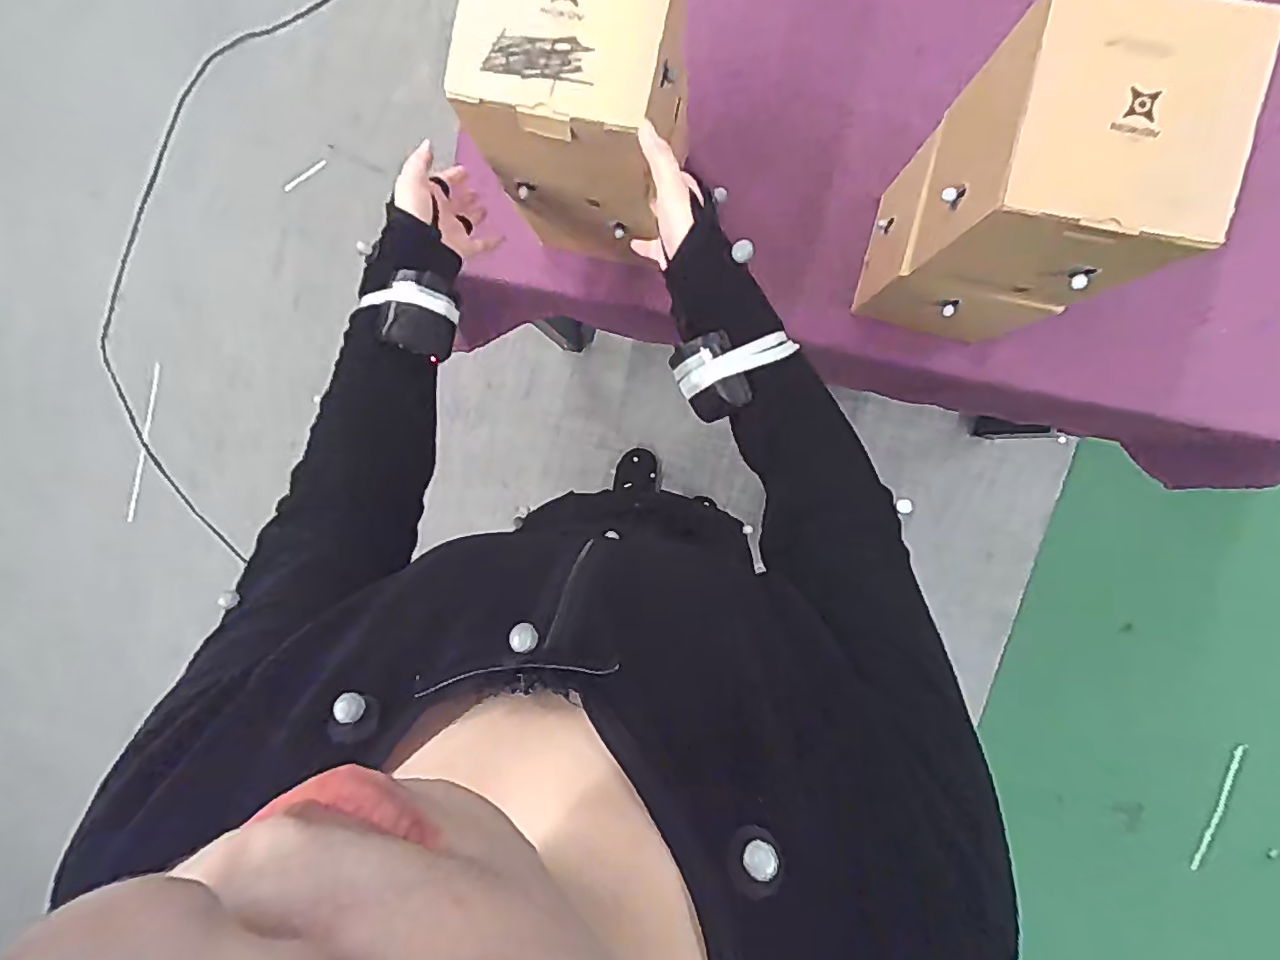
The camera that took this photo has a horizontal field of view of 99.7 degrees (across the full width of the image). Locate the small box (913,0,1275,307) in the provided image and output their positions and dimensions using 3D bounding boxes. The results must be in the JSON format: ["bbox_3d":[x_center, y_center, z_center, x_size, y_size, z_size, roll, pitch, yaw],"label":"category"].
[{"bbox_3d":[0.375,-0.272,0.487,0.168,0.176,0.179,13,93,2],"label":"small box"}]

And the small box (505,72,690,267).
[{"bbox_3d":[-0.044,-0.384,0.671,0.179,0.176,0.168,13,94,2],"label":"small box"}]

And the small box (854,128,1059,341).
[{"bbox_3d":[0.383,-0.277,0.650,0.179,0.176,0.168,15,95,2],"label":"small box"}]

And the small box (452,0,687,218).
[{"bbox_3d":[-0.051,-0.376,0.507,0.168,0.176,0.179,13,93,2],"label":"small box"}]
